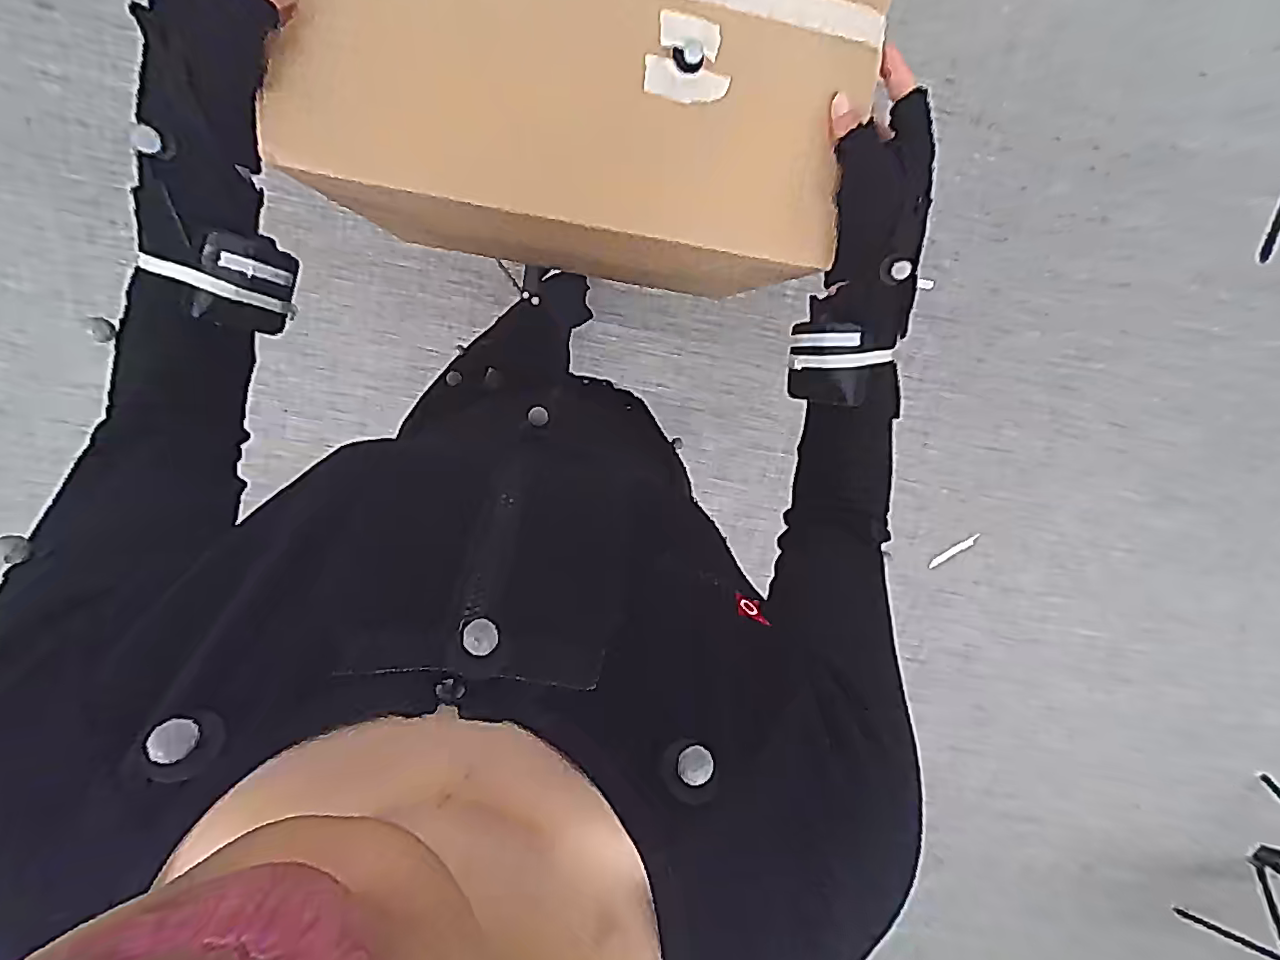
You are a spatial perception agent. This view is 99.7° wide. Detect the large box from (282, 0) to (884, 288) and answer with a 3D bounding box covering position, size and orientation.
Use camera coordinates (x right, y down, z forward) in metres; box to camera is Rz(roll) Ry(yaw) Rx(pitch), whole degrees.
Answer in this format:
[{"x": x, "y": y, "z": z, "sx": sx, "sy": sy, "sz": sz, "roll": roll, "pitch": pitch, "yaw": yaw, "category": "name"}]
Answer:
[{"x": -0.045, "y": -0.380, "z": 0.501, "sx": 0.408, "sy": 0.320, "sz": 0.320, "roll": 6, "pitch": 104, "yaw": -10, "category": "large box"}]
